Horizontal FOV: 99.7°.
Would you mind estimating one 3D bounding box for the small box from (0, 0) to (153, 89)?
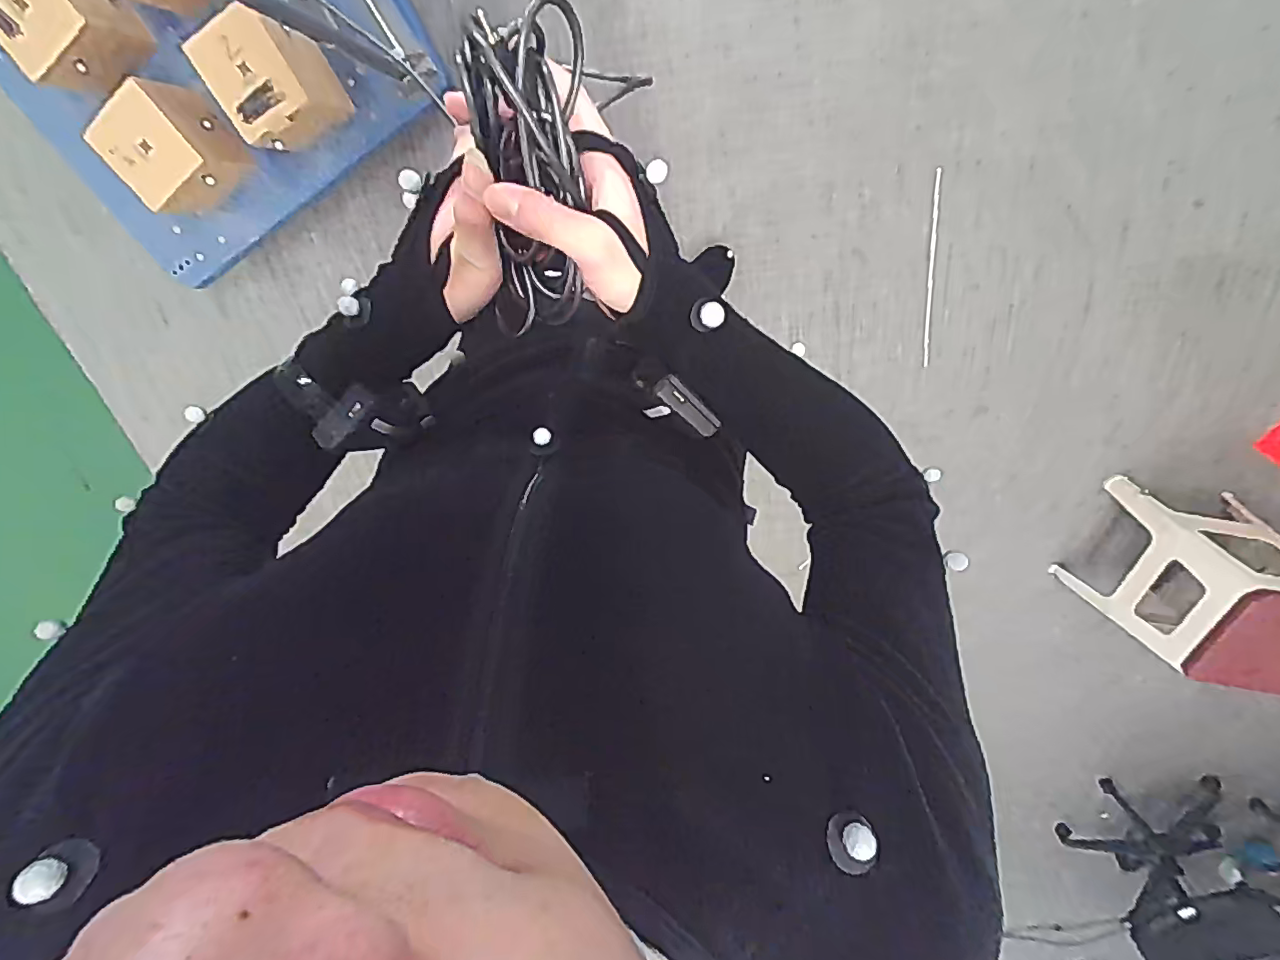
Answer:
[{"bbox_3d":[-1.101,-0.887,1.028,0.179,0.176,0.168,-27,114,16],"label":"small box"}]

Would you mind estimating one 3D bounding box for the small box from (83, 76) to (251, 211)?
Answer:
[{"bbox_3d":[-0.966,-0.691,1.126,0.179,0.176,0.168,-29,112,18],"label":"small box"}]

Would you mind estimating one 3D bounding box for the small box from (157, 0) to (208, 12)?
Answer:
[{"bbox_3d":[-0.867,-0.987,0.958,0.179,0.176,0.168,-24,115,15],"label":"small box"}]
